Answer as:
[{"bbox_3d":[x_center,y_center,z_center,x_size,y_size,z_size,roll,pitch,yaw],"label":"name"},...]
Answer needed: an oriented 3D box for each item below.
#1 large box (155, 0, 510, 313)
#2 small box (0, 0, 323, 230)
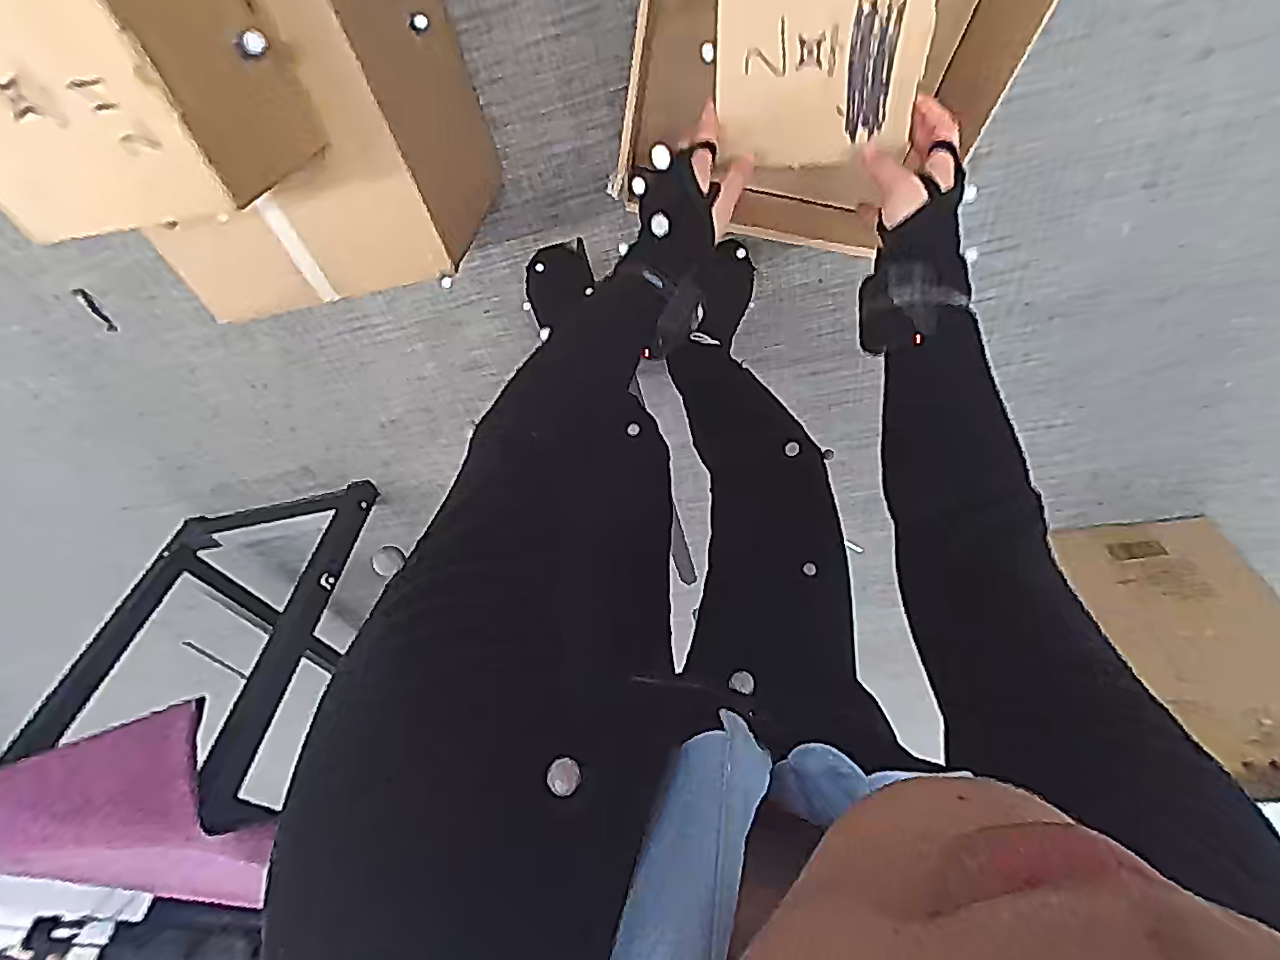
[{"bbox_3d":[-0.382,-0.464,0.590,0.320,0.320,0.408,-7,137,11],"label":"large box"},{"bbox_3d":[-0.381,-0.308,0.395,0.179,0.176,0.168,-5,137,6],"label":"small box"}]
